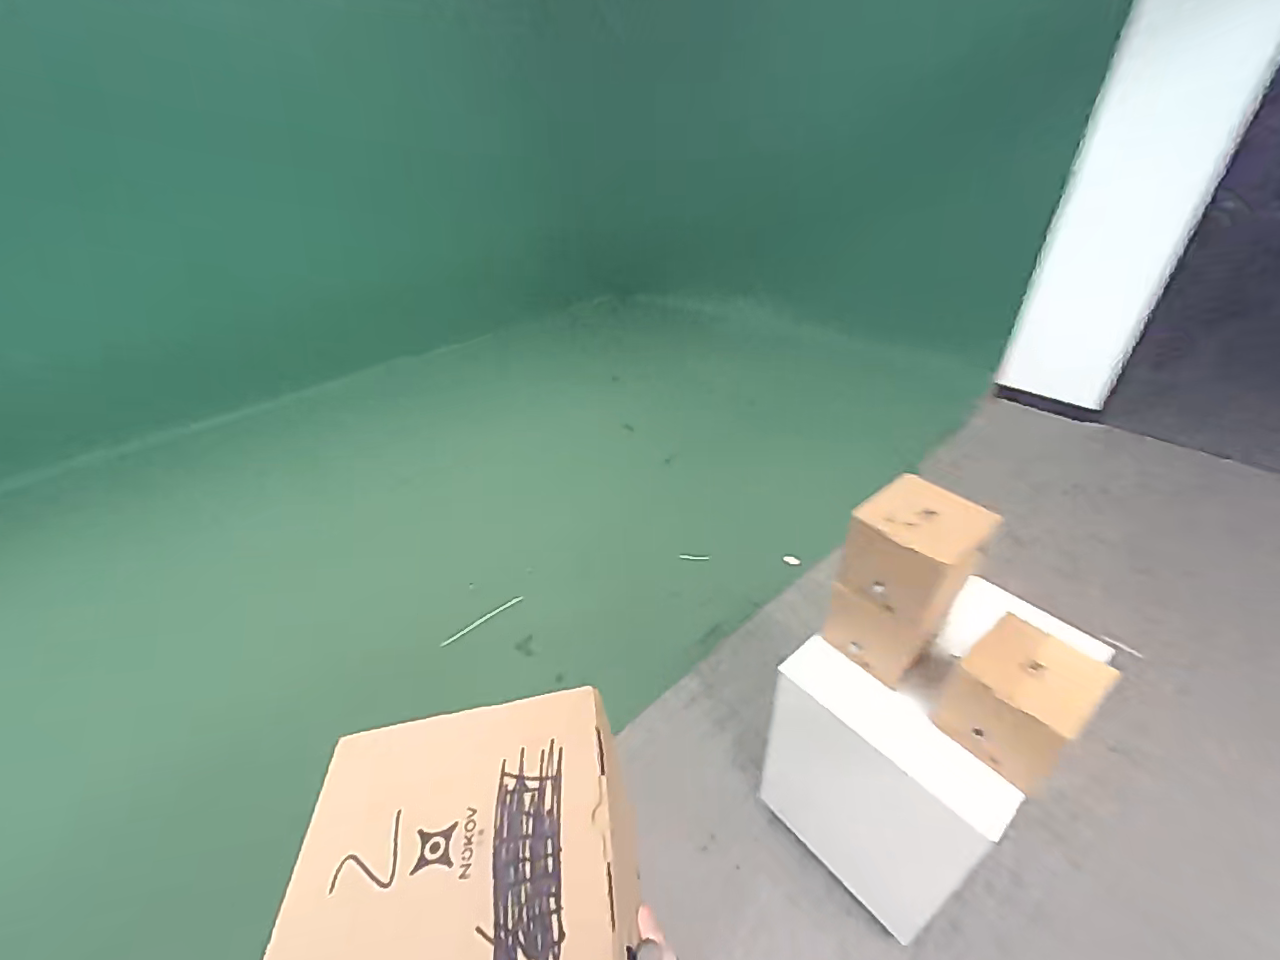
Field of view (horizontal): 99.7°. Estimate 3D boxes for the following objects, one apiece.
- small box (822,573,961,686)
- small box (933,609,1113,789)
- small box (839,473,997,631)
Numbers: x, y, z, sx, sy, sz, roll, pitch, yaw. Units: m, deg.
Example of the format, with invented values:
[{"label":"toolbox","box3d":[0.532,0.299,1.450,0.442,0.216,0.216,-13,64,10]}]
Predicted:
[{"label":"small box","box3d":[0.471,0.252,1.037,0.179,0.176,0.168,-29,44,-29]},{"label":"small box","box3d":[0.614,0.355,0.887,0.179,0.176,0.168,-28,42,-28]},{"label":"small box","box3d":[0.469,0.121,0.937,0.179,0.176,0.168,-28,43,-28]}]
